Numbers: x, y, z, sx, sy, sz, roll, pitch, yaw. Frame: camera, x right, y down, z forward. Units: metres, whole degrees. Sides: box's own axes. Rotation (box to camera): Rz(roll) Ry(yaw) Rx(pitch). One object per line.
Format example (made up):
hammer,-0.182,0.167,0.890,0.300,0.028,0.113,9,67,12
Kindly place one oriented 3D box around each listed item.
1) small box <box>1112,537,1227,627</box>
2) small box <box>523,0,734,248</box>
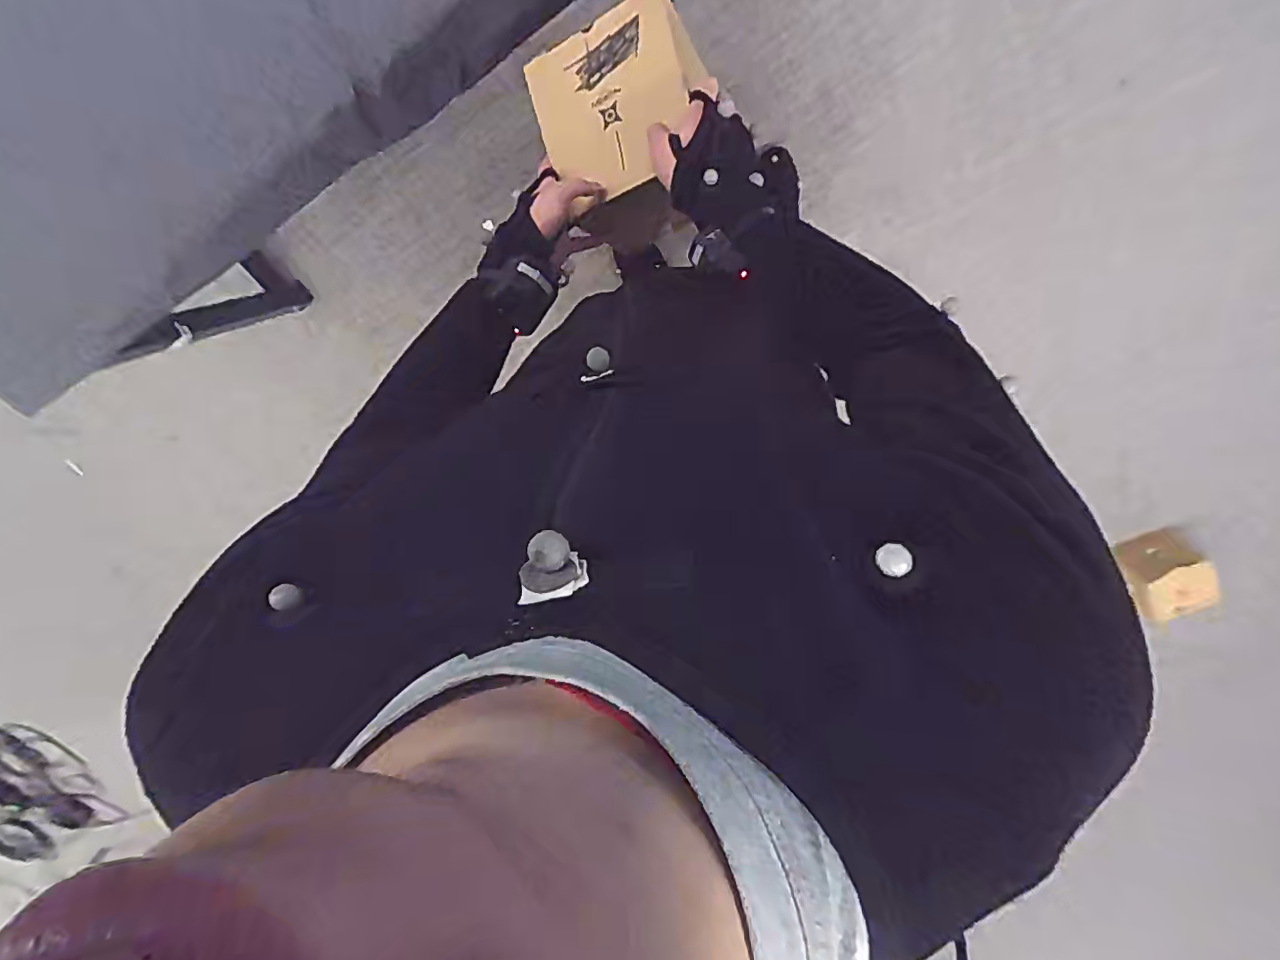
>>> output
small box,1.552,0.291,1.596,0.168,0.176,0.179,-30,110,18
small box,-0.003,-0.398,0.625,0.168,0.176,0.179,-13,93,25
